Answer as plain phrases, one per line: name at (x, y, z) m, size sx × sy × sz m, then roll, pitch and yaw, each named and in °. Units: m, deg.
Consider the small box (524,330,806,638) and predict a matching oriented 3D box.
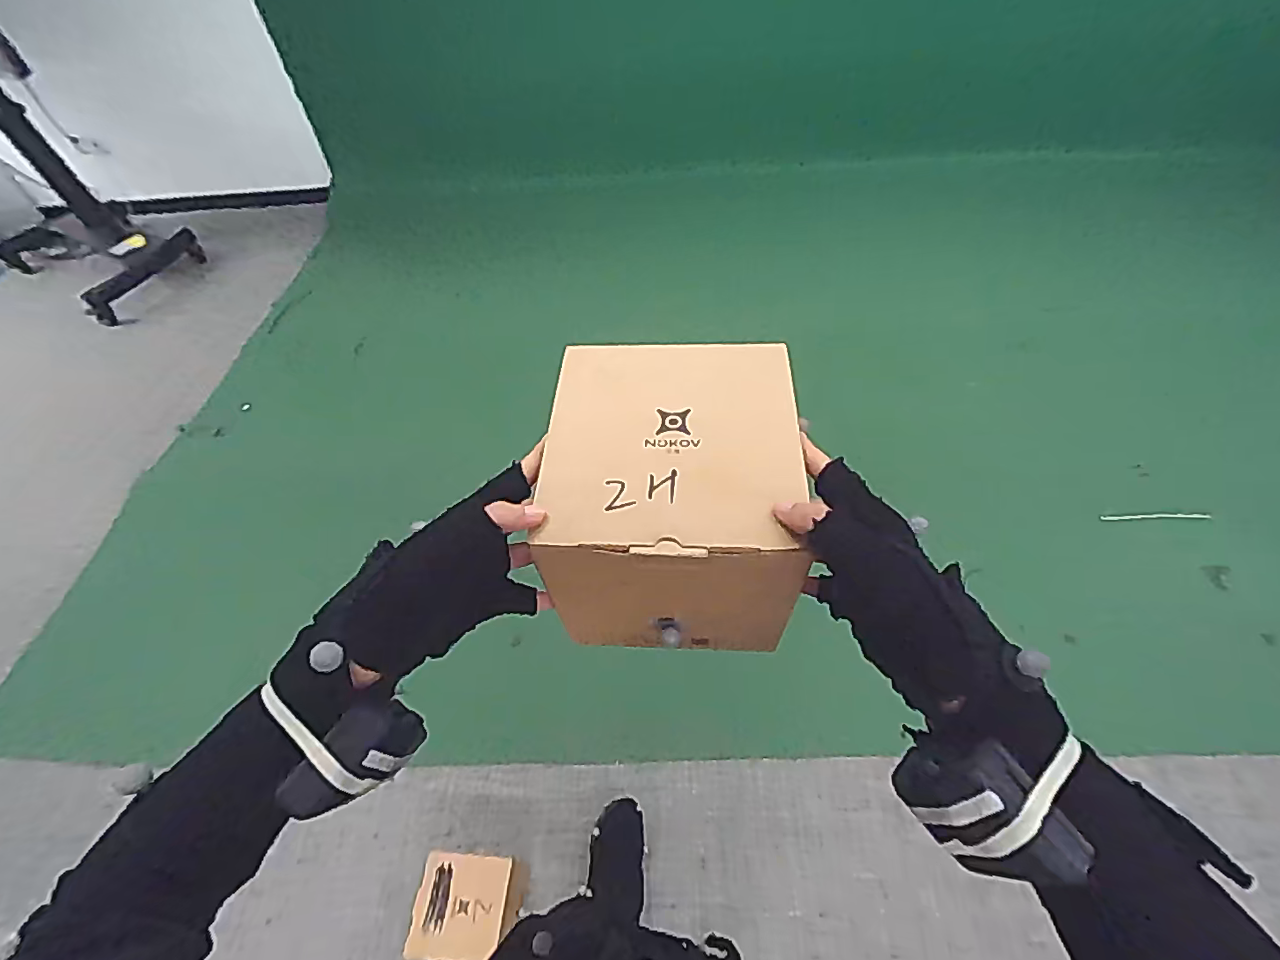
small box at (0.024, 0.005, 0.421) m, size 0.168 × 0.176 × 0.179 m, roll 1°, pitch 54°, yaw 6°
